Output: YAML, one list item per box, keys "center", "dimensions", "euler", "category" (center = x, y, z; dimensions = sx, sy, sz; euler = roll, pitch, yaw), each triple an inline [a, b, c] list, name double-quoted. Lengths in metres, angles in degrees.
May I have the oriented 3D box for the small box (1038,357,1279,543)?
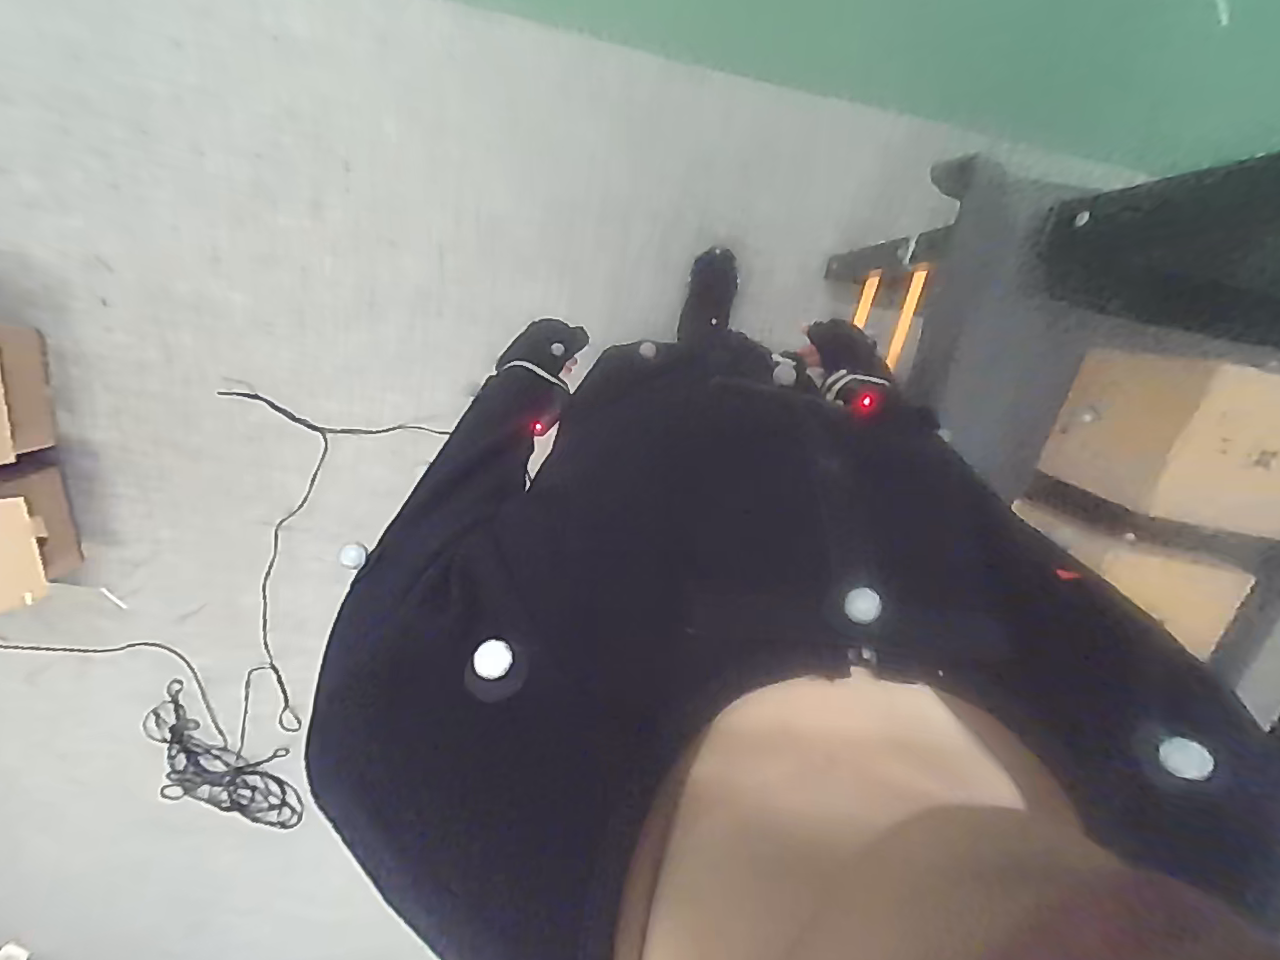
- center: [0.635, -0.045, 0.638]
  dimensions: [0.179, 0.176, 0.168]
  euler: [10, 107, -4]
  category: "small box"

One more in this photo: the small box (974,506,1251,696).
- center: [0.589, 0.147, 0.704]
  dimensions: [0.179, 0.176, 0.168]
  euler: [11, 108, -3]
  category: "small box"
